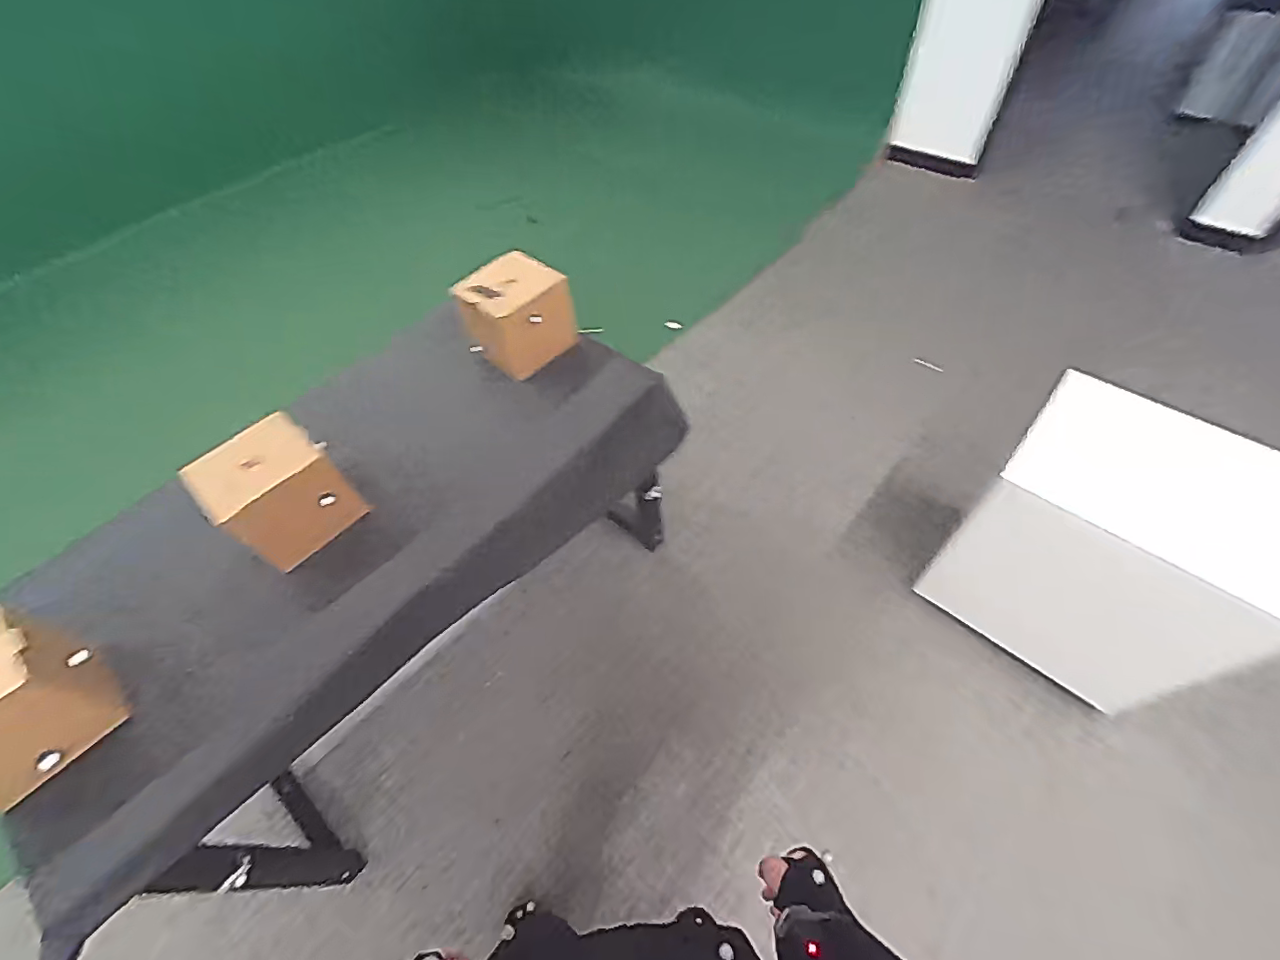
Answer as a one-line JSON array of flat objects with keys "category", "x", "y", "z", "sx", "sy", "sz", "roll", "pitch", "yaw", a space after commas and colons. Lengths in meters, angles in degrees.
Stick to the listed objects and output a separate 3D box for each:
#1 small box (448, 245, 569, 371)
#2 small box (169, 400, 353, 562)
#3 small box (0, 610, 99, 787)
[{"category": "small box", "x": -0.271, "y": -0.366, "z": 1.161, "sx": 0.168, "sy": 0.176, "sz": 0.179, "roll": 36, "pitch": 63, "yaw": 25}, {"category": "small box", "x": -0.624, "y": 0.003, "z": 0.919, "sx": 0.168, "sy": 0.176, "sz": 0.179, "roll": 34, "pitch": 64, "yaw": 26}, {"category": "small box", "x": -0.887, "y": 0.293, "z": 0.719, "sx": 0.168, "sy": 0.176, "sz": 0.179, "roll": 34, "pitch": 61, "yaw": 25}]
